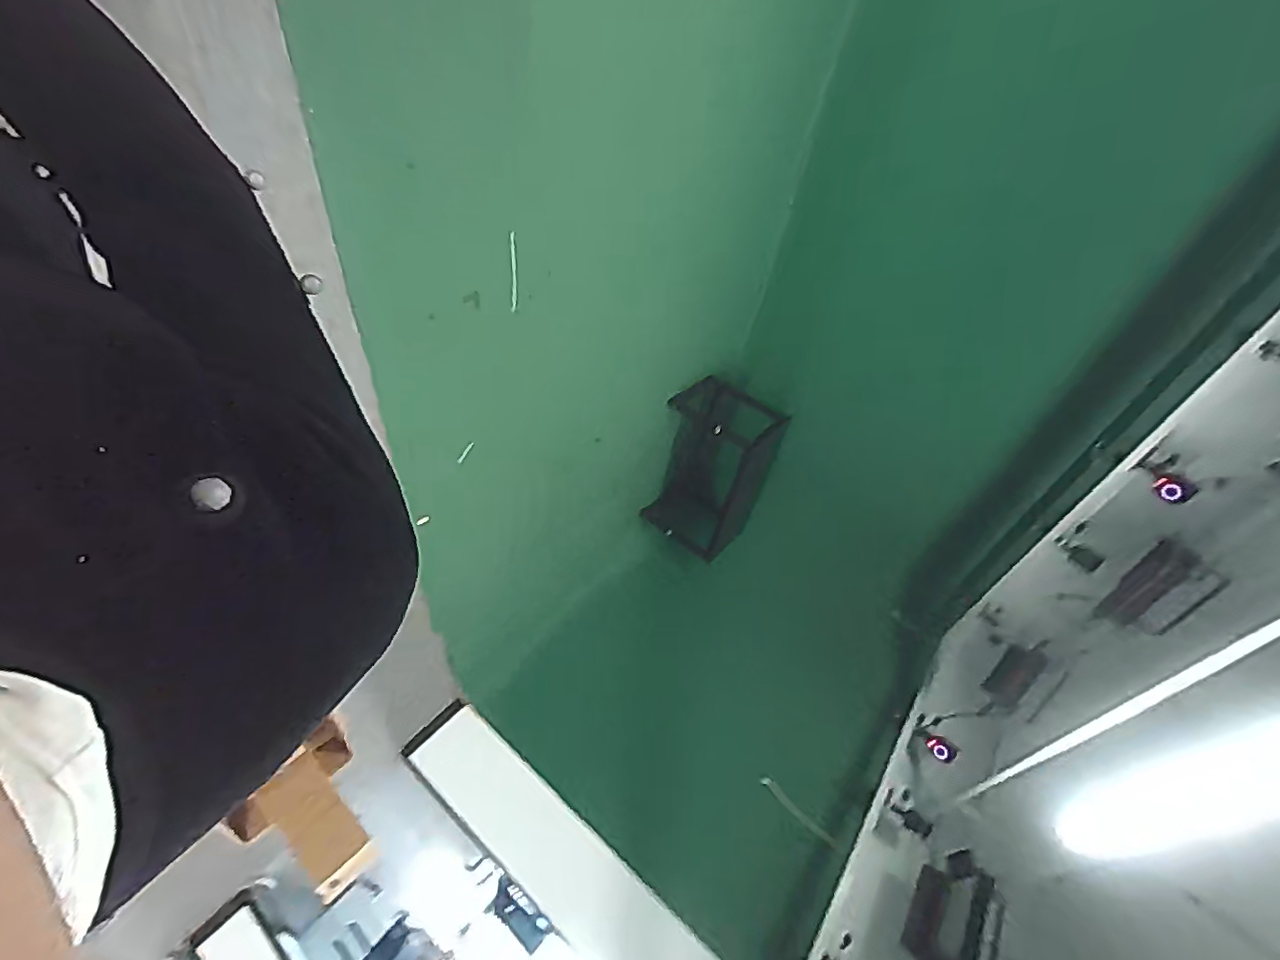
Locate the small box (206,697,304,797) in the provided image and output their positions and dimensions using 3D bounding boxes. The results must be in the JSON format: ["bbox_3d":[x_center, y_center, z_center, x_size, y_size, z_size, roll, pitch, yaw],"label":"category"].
[{"bbox_3d":[-1.165,0.803,1.633,0.179,0.176,0.168,-38,153,-40],"label":"small box"}]

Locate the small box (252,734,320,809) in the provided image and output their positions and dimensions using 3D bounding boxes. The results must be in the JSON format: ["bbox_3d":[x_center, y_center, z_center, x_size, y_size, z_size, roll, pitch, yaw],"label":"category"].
[{"bbox_3d":[-1.208,0.996,1.823,0.179,0.176,0.168,-35,149,-43],"label":"small box"}]

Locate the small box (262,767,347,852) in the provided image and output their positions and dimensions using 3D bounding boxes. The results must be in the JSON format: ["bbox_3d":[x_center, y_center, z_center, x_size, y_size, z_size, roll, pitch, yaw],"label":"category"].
[{"bbox_3d":[-1.081,1.081,1.763,0.179,0.176,0.168,-37,149,-43],"label":"small box"}]

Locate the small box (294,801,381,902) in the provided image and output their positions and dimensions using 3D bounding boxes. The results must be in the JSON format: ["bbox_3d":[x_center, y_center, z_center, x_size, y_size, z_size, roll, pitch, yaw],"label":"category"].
[{"bbox_3d":[-0.953,1.165,1.701,0.179,0.176,0.168,-37,150,-42],"label":"small box"}]
